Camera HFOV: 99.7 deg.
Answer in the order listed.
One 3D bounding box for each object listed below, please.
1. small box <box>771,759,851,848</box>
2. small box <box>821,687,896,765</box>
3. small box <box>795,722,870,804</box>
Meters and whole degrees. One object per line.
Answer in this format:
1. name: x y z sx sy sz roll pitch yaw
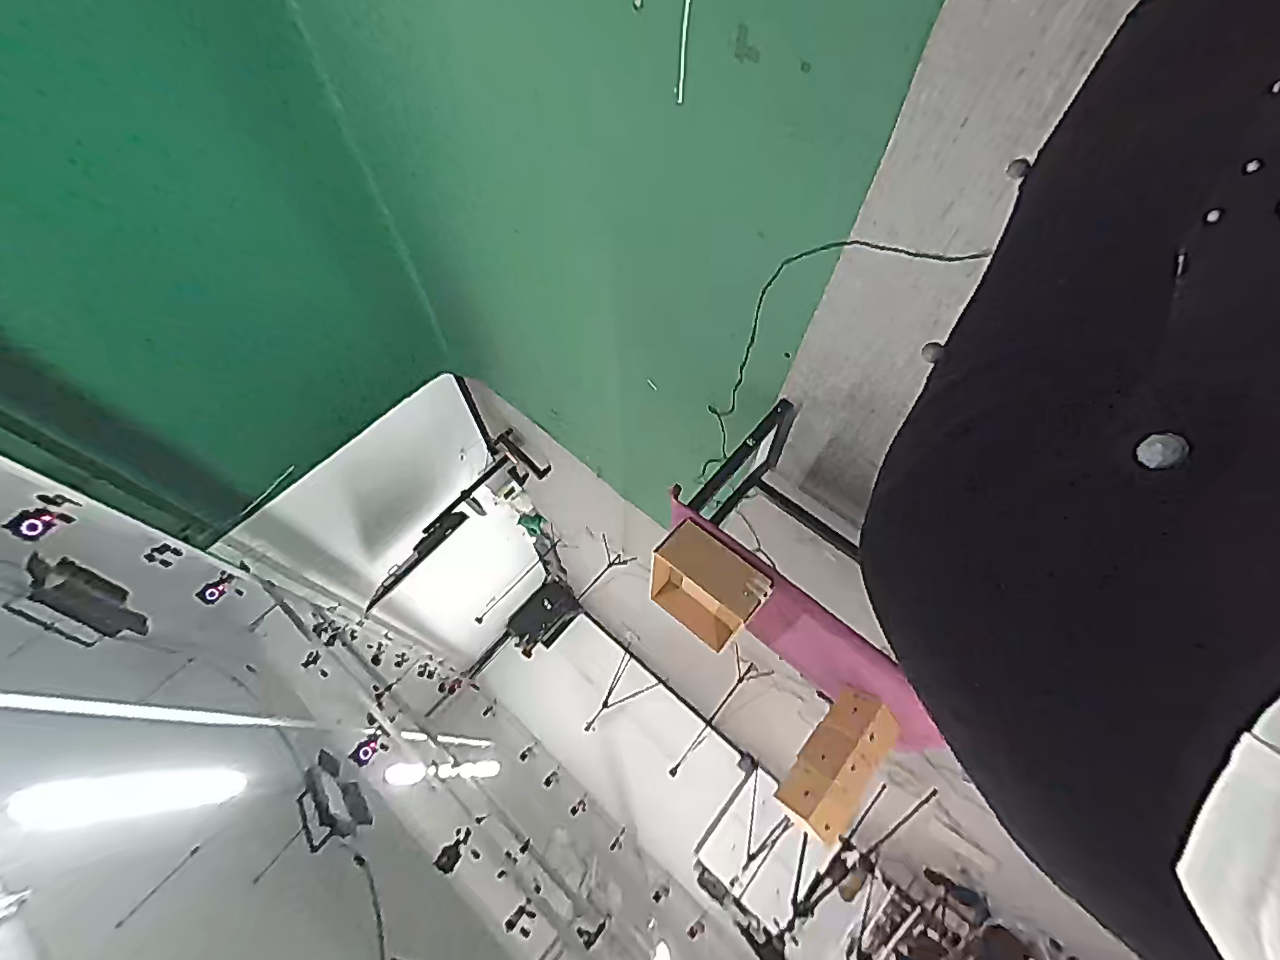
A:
1. small box: 0.597 1.118 1.883 0.179 0.176 0.168 53 156 -20
2. small box: 0.809 0.900 1.996 0.179 0.176 0.168 54 157 -22
3. small box: 0.699 1.007 1.942 0.168 0.176 0.179 55 157 -22
